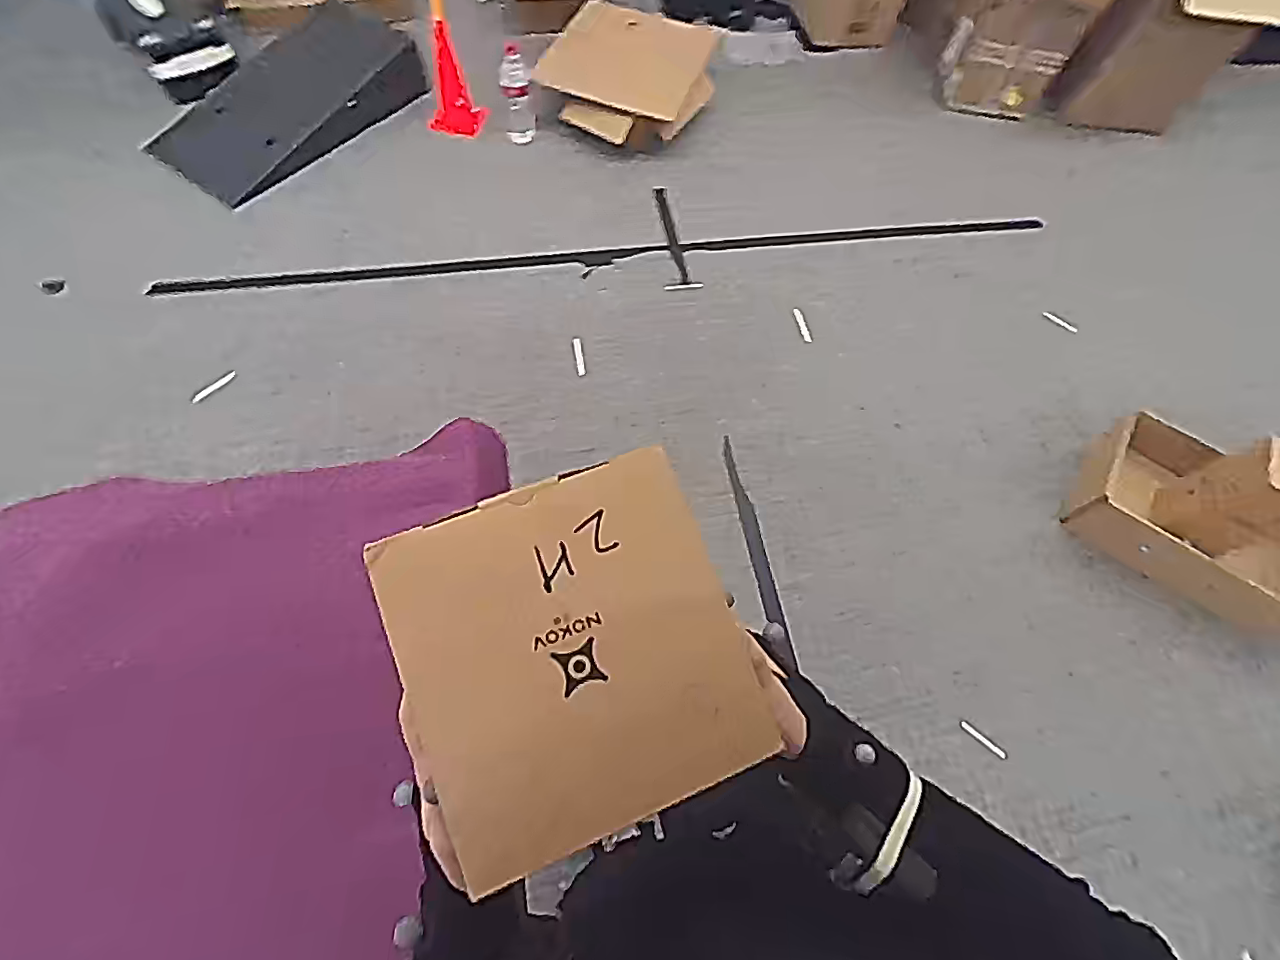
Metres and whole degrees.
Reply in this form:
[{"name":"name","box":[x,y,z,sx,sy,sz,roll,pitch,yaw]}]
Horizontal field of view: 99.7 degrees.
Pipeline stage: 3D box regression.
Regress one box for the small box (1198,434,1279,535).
[{"name":"small box","box":[1.631,0.019,1.420,0.168,0.176,0.179,30,64,8]}]

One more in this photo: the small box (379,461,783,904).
[{"name":"small box","box":[-0.038,0.108,0.354,0.168,0.176,0.179,-19,81,-11]}]

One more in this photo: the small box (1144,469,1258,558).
[{"name":"small box","box":[1.620,0.094,1.563,0.168,0.176,0.179,34,66,11]}]
